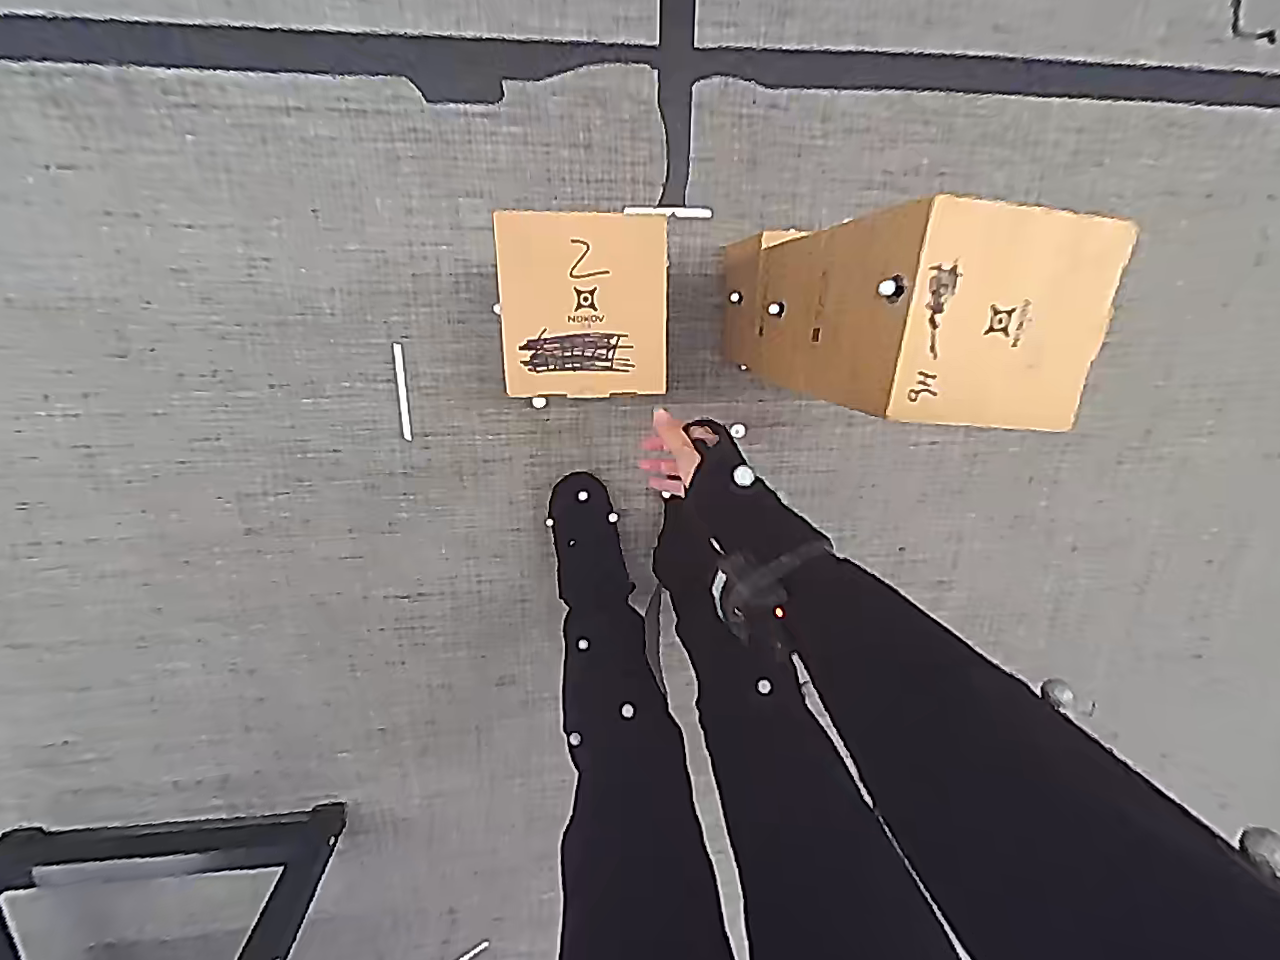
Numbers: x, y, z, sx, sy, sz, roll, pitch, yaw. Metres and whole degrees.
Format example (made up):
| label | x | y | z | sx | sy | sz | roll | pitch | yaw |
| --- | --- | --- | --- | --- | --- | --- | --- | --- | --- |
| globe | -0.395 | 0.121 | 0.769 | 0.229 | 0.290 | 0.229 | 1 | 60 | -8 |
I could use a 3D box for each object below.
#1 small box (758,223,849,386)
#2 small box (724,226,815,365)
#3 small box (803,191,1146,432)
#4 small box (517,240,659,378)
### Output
| label | x | y | z | sx | sy | sz | roll | pitch | yaw |
| --- | --- | --- | --- | --- | --- | --- | --- | --- | --- |
| small box | 0.254 | -0.200 | 0.645 | 0.179 | 0.176 | 0.168 | 0 | 108 | -9 |
| small box | 0.227 | -0.266 | 0.794 | 0.168 | 0.176 | 0.179 | -3 | 107 | -8 |
| small box | 0.277 | -0.147 | 0.491 | 0.179 | 0.176 | 0.168 | 3 | 107 | -10 |
| small box | -0.074 | -0.235 | 0.761 | 0.179 | 0.176 | 0.168 | -1 | 107 | -8 |
